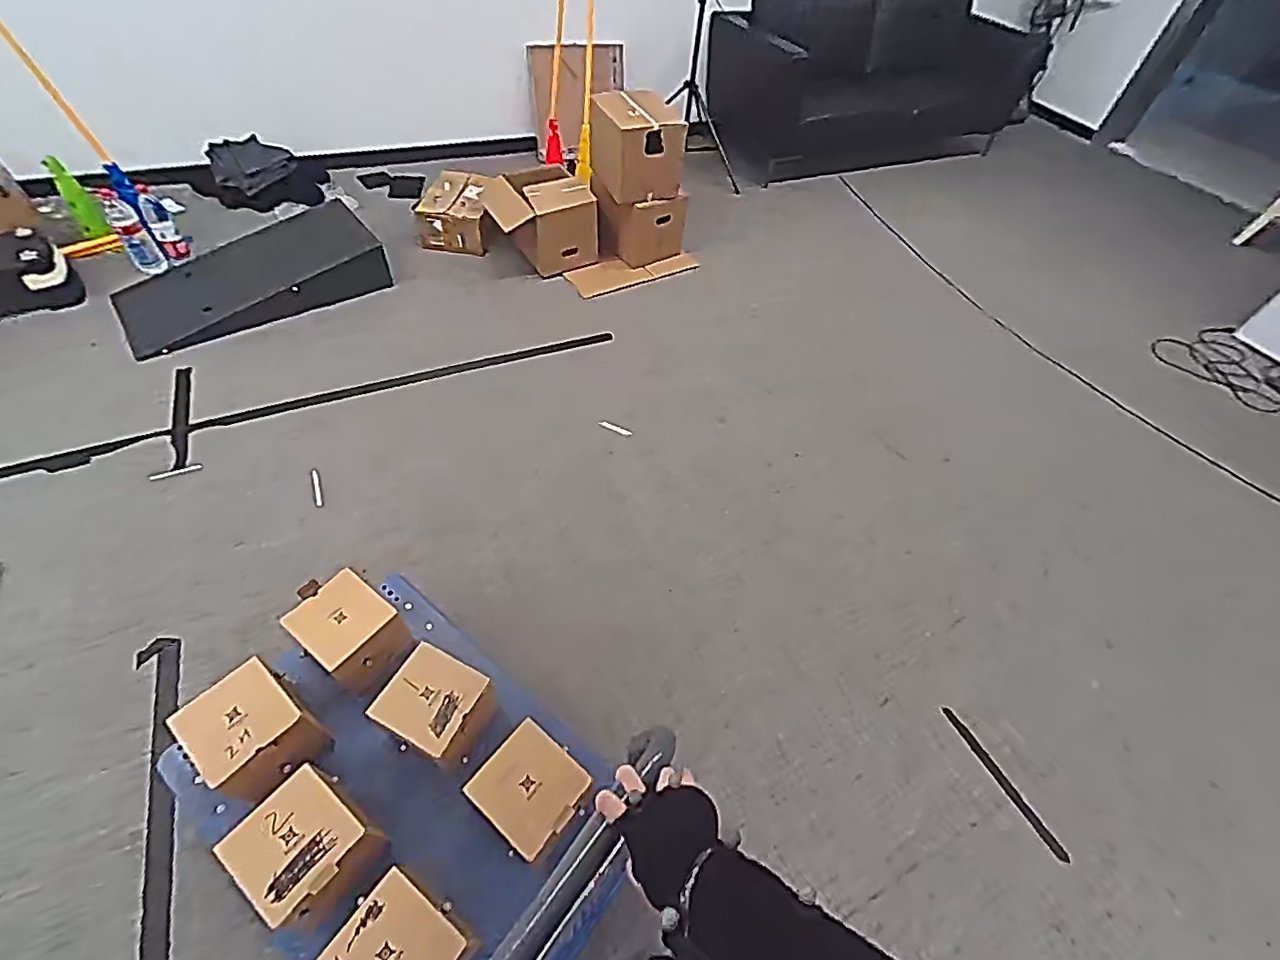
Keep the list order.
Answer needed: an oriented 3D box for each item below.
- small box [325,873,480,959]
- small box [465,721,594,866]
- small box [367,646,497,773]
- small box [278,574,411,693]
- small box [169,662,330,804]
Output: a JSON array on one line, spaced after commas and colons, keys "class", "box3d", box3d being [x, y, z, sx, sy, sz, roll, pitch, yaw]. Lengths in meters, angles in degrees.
[{"class": "small box", "box3d": [-0.384, 0.783, 0.882, 0.179, 0.176, 0.168, 31, 53, 16]}, {"class": "small box", "box3d": [-0.206, 0.610, 1.047, 0.179, 0.176, 0.168, 34, 54, 19]}, {"class": "small box", "box3d": [-0.417, 0.481, 1.121, 0.179, 0.176, 0.168, 23, 52, 12]}, {"class": "small box", "box3d": [-0.642, 0.347, 1.199, 0.179, 0.176, 0.168, 31, 55, 17]}, {"class": "small box", "box3d": [-0.754, 0.500, 1.060, 0.179, 0.176, 0.168, 36, 56, 19]}]
